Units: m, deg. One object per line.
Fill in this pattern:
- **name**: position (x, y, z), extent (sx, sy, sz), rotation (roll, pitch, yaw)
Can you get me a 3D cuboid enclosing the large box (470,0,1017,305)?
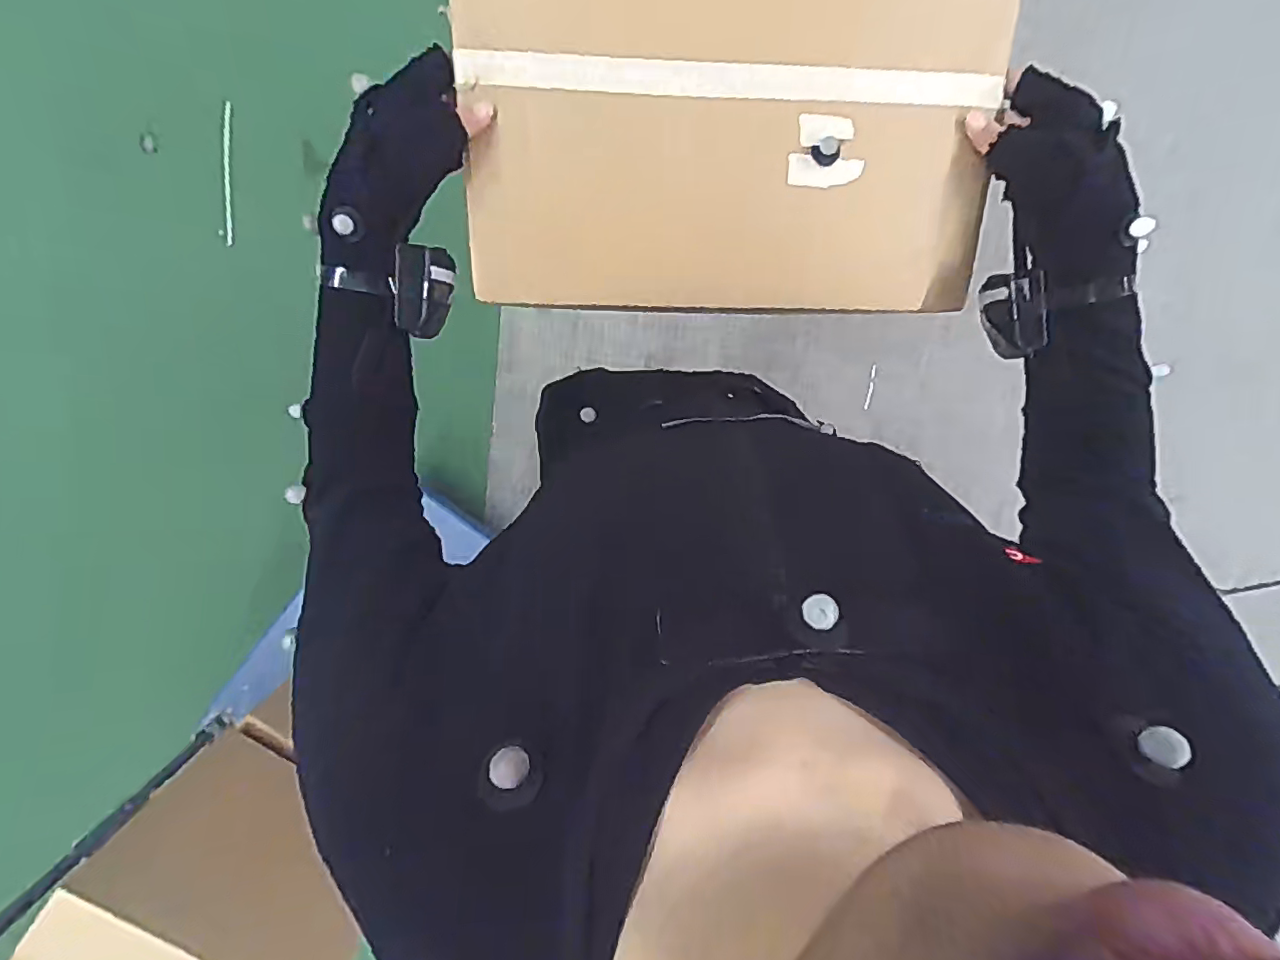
- **large box**: position (0.064, -0.343, 0.541), extent (0.408, 0.320, 0.320), rotation (0, 107, -6)
